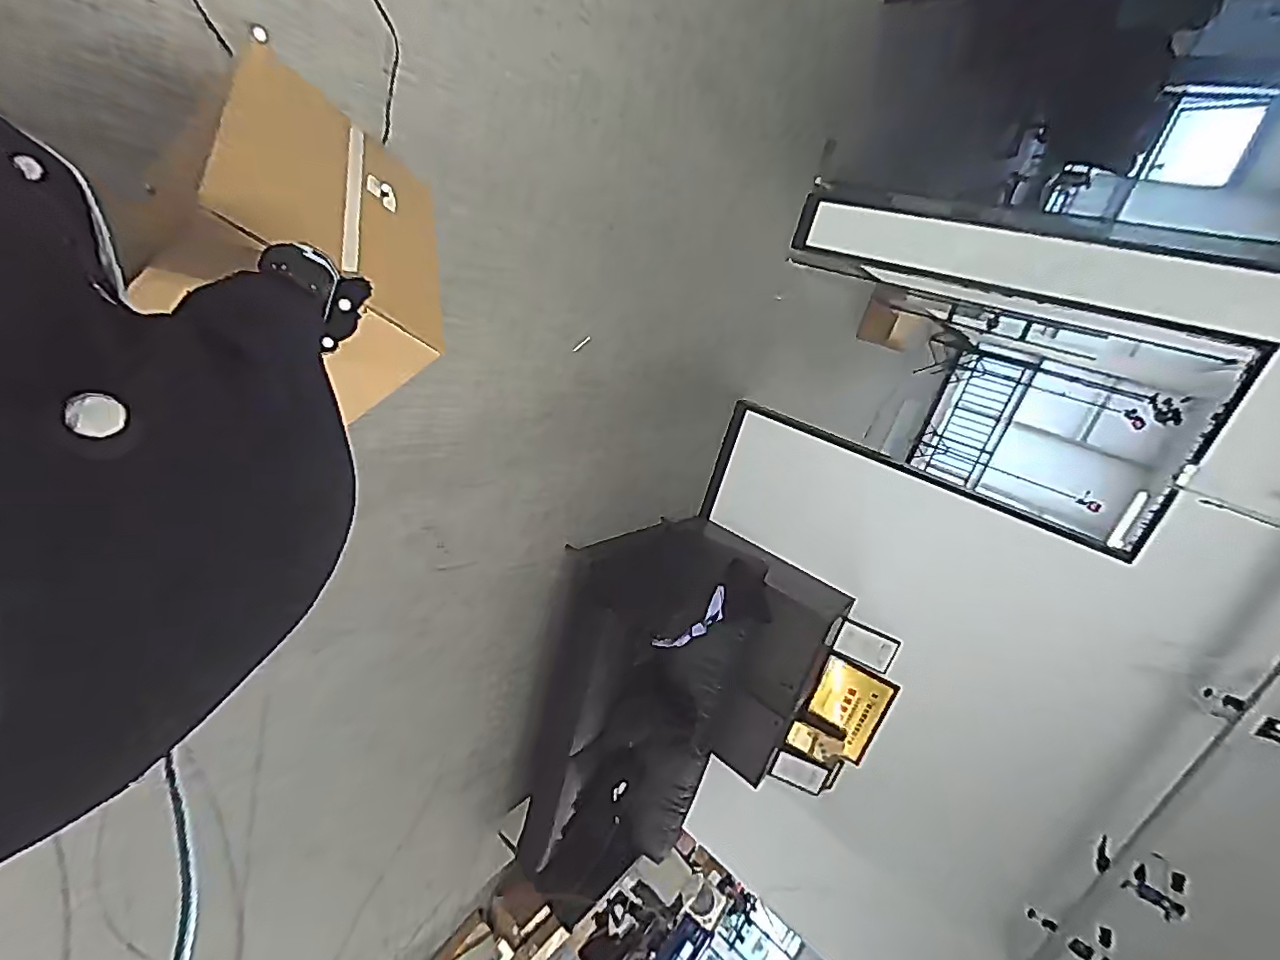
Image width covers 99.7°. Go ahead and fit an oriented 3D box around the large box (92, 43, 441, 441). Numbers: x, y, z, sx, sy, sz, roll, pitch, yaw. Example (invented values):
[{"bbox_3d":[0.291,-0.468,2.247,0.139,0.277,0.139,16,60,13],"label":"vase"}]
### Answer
[{"bbox_3d":[-0.545,-0.335,0.838,0.320,0.408,0.320,-28,148,22],"label":"large box"}]
